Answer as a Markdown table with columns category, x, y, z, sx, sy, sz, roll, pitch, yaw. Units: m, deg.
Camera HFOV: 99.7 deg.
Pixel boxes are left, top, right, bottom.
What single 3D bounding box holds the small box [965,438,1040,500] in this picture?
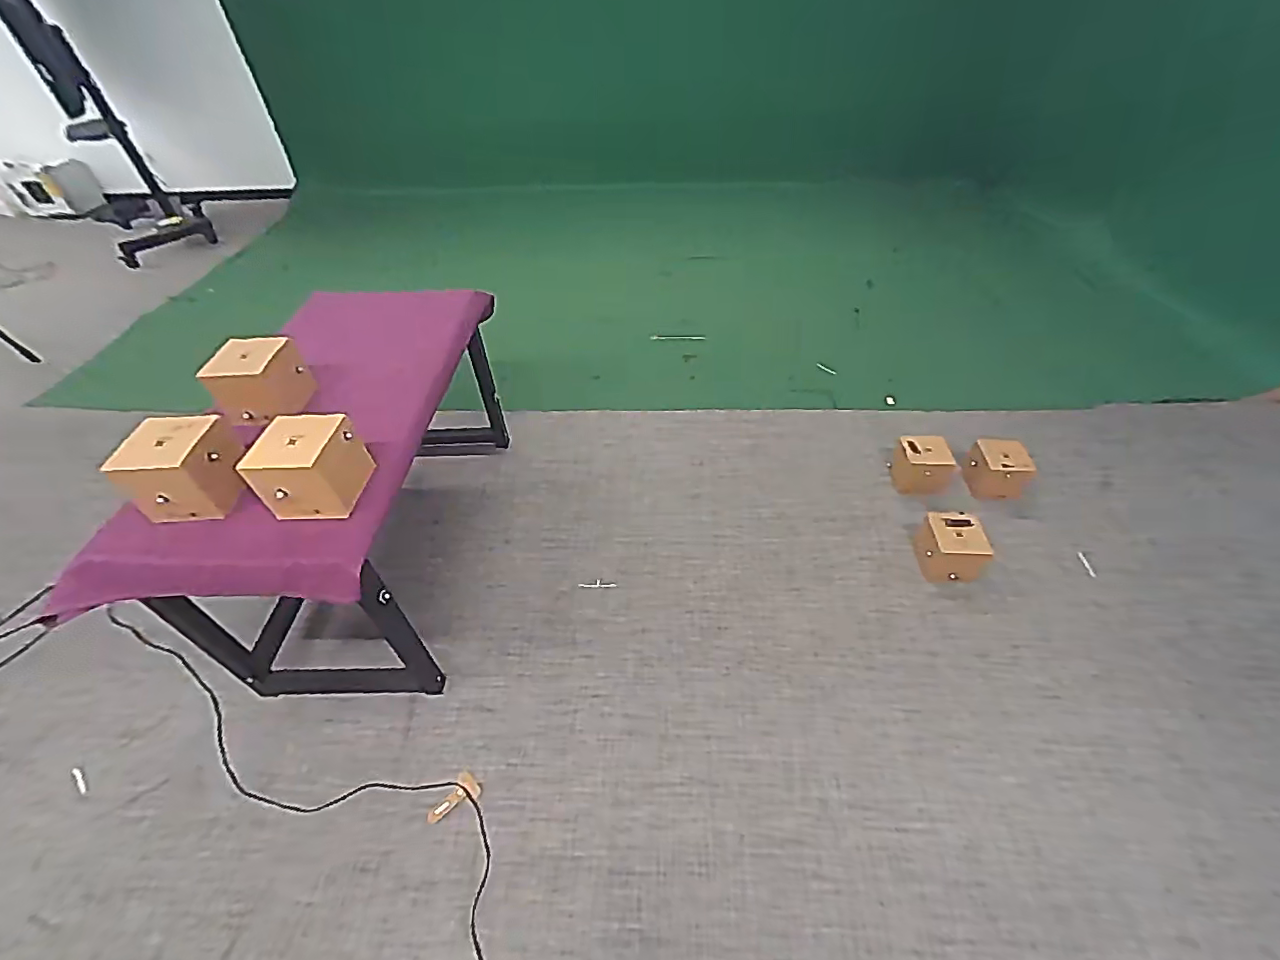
| category | x | y | z | sx | sy | sz | roll | pitch | yaw |
| --- | --- | --- | --- | --- | --- | --- | --- | --- | --- |
| small box | 1.418 | -0.045 | 2.128 | 0.168 | 0.176 | 0.179 | 2 | 45 | 5 |

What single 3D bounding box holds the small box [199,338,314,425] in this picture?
| category | x | y | z | sx | sy | sz | roll | pitch | yaw |
| --- | --- | --- | --- | --- | --- | --- | --- | --- | --- |
| small box | -1.023 | -0.266 | 1.465 | 0.168 | 0.176 | 0.179 | -2 | 46 | 2 |

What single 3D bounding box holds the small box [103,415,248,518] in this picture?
| category | x | y | z | sx | sy | sz | roll | pitch | yaw |
| --- | --- | --- | --- | --- | --- | --- | --- | --- | --- |
| small box | -1.027 | -0.026 | 1.228 | 0.168 | 0.176 | 0.179 | -2 | 45 | 0 |

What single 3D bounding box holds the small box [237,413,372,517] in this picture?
| category | x | y | z | sx | sy | sz | roll | pitch | yaw |
| --- | --- | --- | --- | --- | --- | --- | --- | --- | --- |
| small box | -0.737 | -0.029 | 1.215 | 0.168 | 0.176 | 0.179 | -1 | 45 | 4 |

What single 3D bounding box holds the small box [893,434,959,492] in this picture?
| category | x | y | z | sx | sy | sz | roll | pitch | yaw |
| --- | --- | --- | --- | --- | --- | --- | --- | --- | --- |
| small box | 1.131 | -0.066 | 2.162 | 0.179 | 0.176 | 0.168 | 1 | 46 | 4 |
